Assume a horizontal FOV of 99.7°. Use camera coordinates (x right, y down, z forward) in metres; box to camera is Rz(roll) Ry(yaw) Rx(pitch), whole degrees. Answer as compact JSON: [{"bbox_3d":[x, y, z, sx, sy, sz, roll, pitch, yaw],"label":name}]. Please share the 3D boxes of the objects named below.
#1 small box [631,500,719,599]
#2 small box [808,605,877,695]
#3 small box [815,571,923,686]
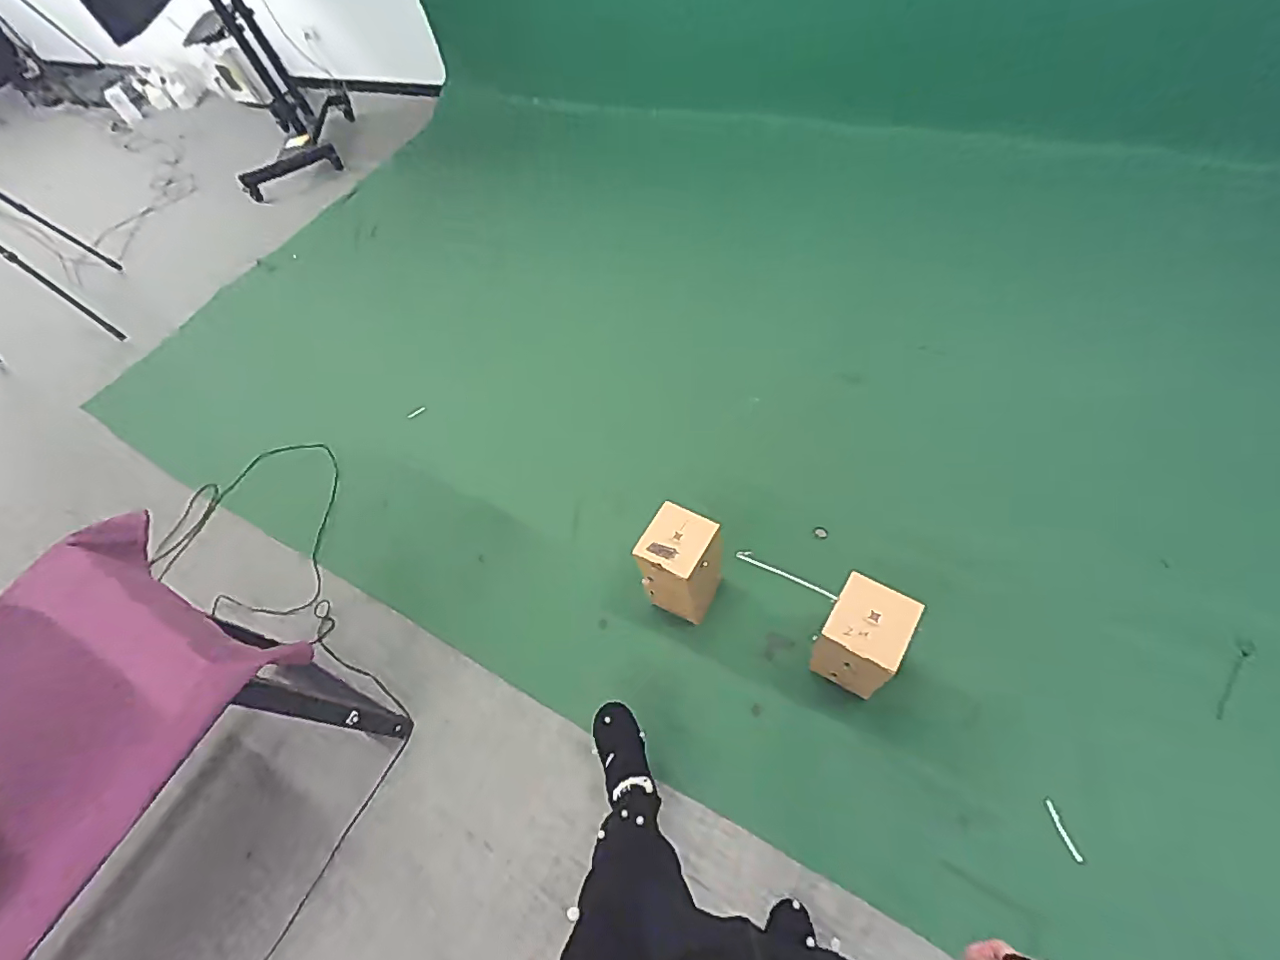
[{"bbox_3d":[0.102,0.190,1.444,0.168,0.176,0.179,25,65,24],"label":"small box"},{"bbox_3d":[0.550,0.429,1.404,0.168,0.176,0.179,25,68,23],"label":"small box"},{"bbox_3d":[0.524,0.350,1.262,0.168,0.176,0.179,27,68,24],"label":"small box"}]
